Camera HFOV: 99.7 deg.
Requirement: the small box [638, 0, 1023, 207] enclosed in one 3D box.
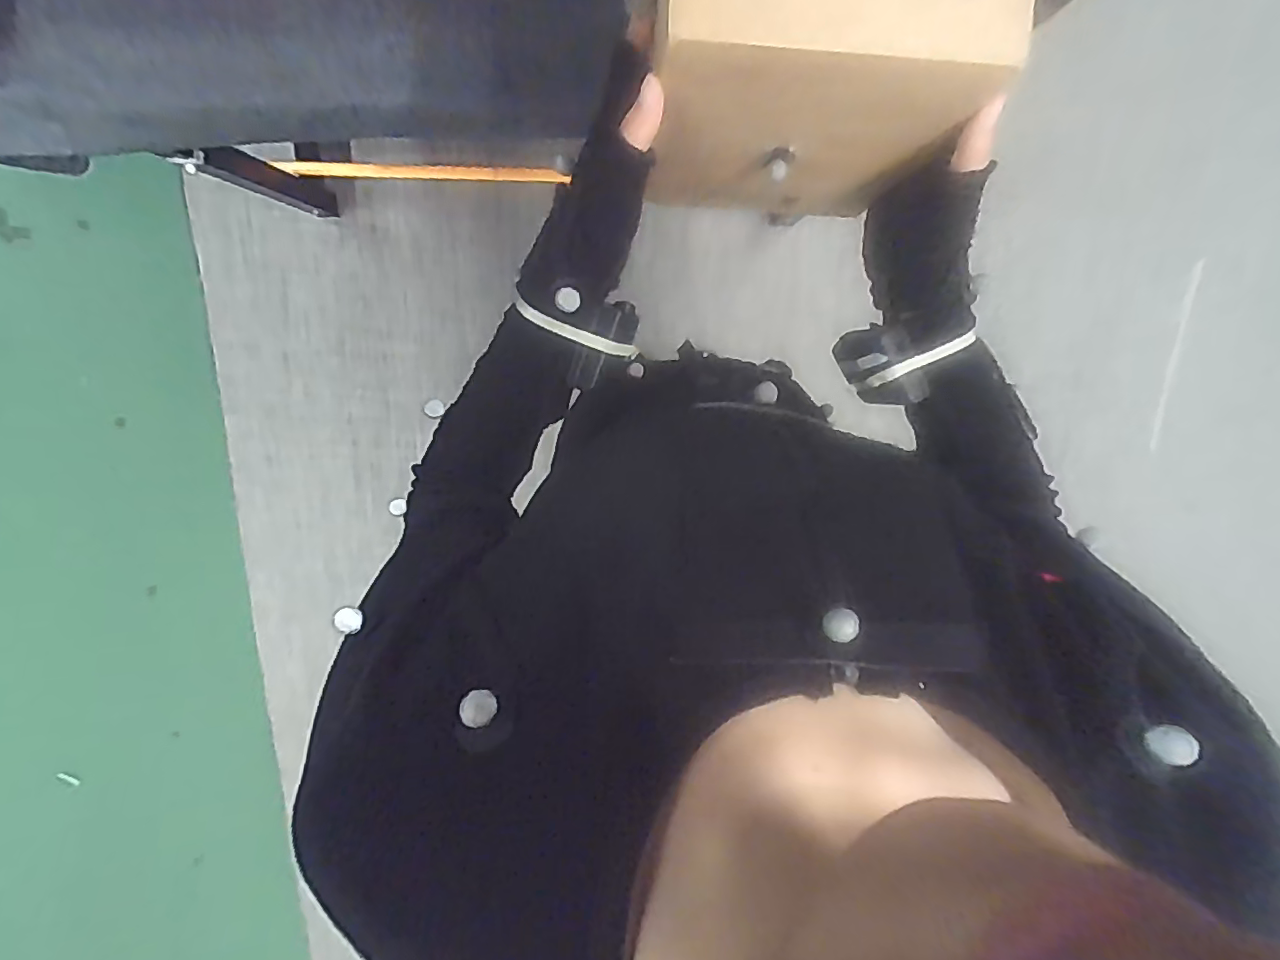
[{"bbox_3d":[0.087,-0.281,0.312,0.168,0.176,0.179,2,94,-4],"label":"small box"}]
